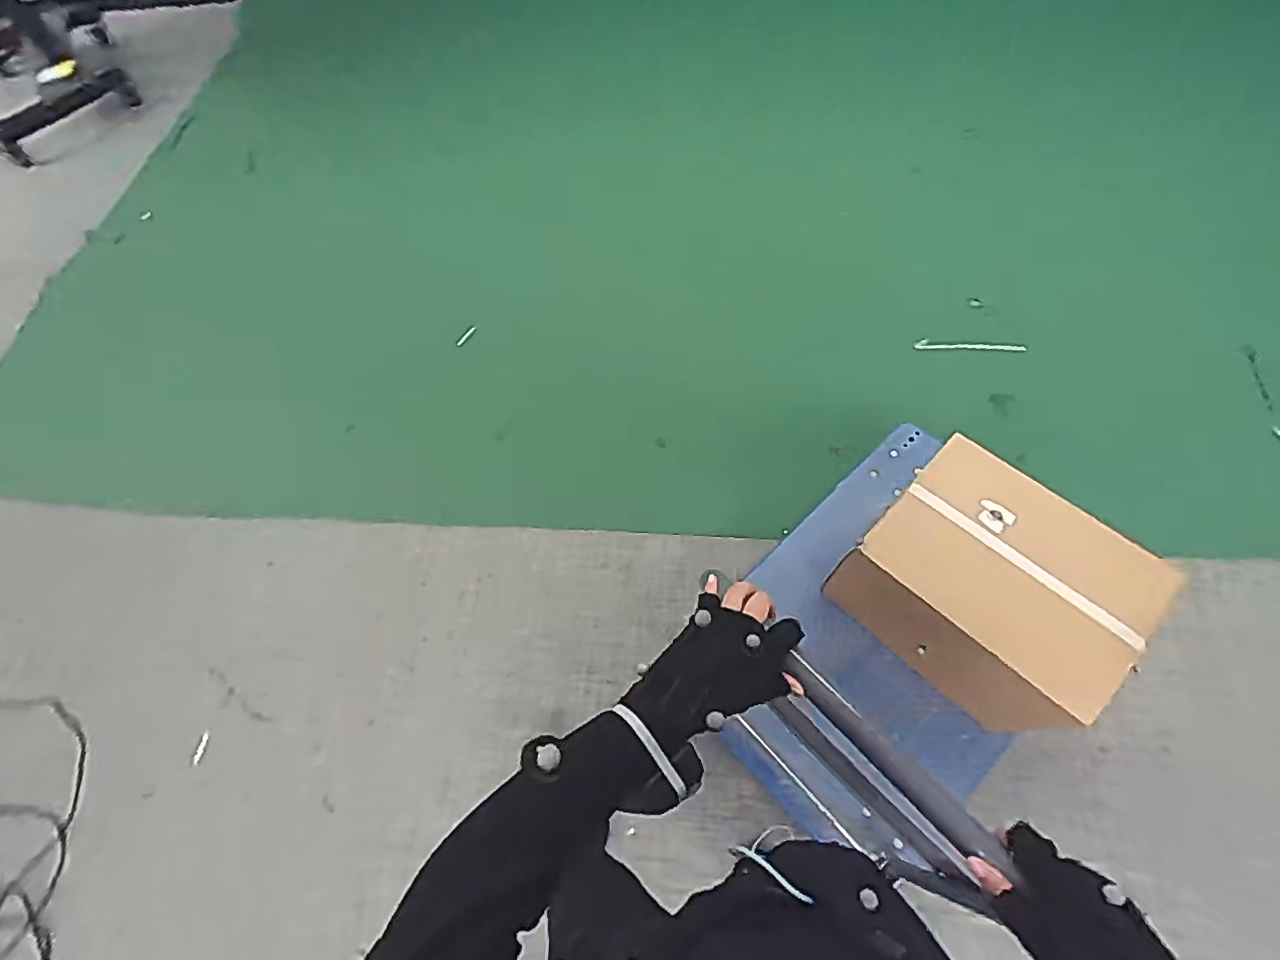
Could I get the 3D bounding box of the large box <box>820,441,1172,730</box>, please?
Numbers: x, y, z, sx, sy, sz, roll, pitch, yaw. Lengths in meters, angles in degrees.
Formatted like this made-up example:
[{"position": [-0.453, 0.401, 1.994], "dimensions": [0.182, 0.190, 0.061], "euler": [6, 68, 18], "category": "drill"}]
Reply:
[{"position": [0.622, 0.208, 1.030], "dimensions": [0.320, 0.320, 0.408], "euler": [-43, 66, -15], "category": "large box"}]
